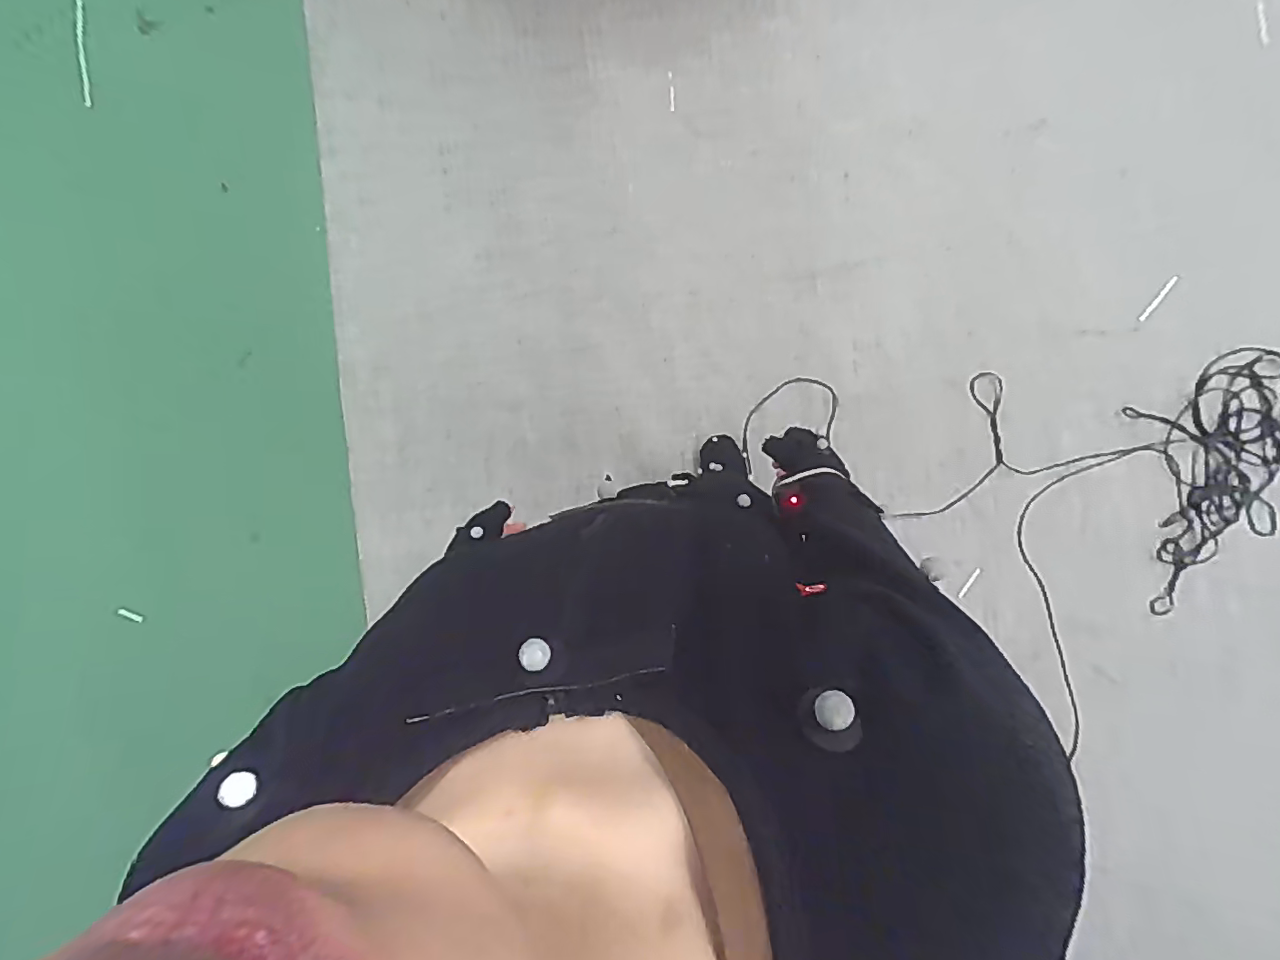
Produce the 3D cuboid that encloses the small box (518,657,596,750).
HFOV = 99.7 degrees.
[{"bbox_3d":[-0.211,0.573,1.409,0.168,0.176,0.179,-6,91,2],"label":"small box"}]
